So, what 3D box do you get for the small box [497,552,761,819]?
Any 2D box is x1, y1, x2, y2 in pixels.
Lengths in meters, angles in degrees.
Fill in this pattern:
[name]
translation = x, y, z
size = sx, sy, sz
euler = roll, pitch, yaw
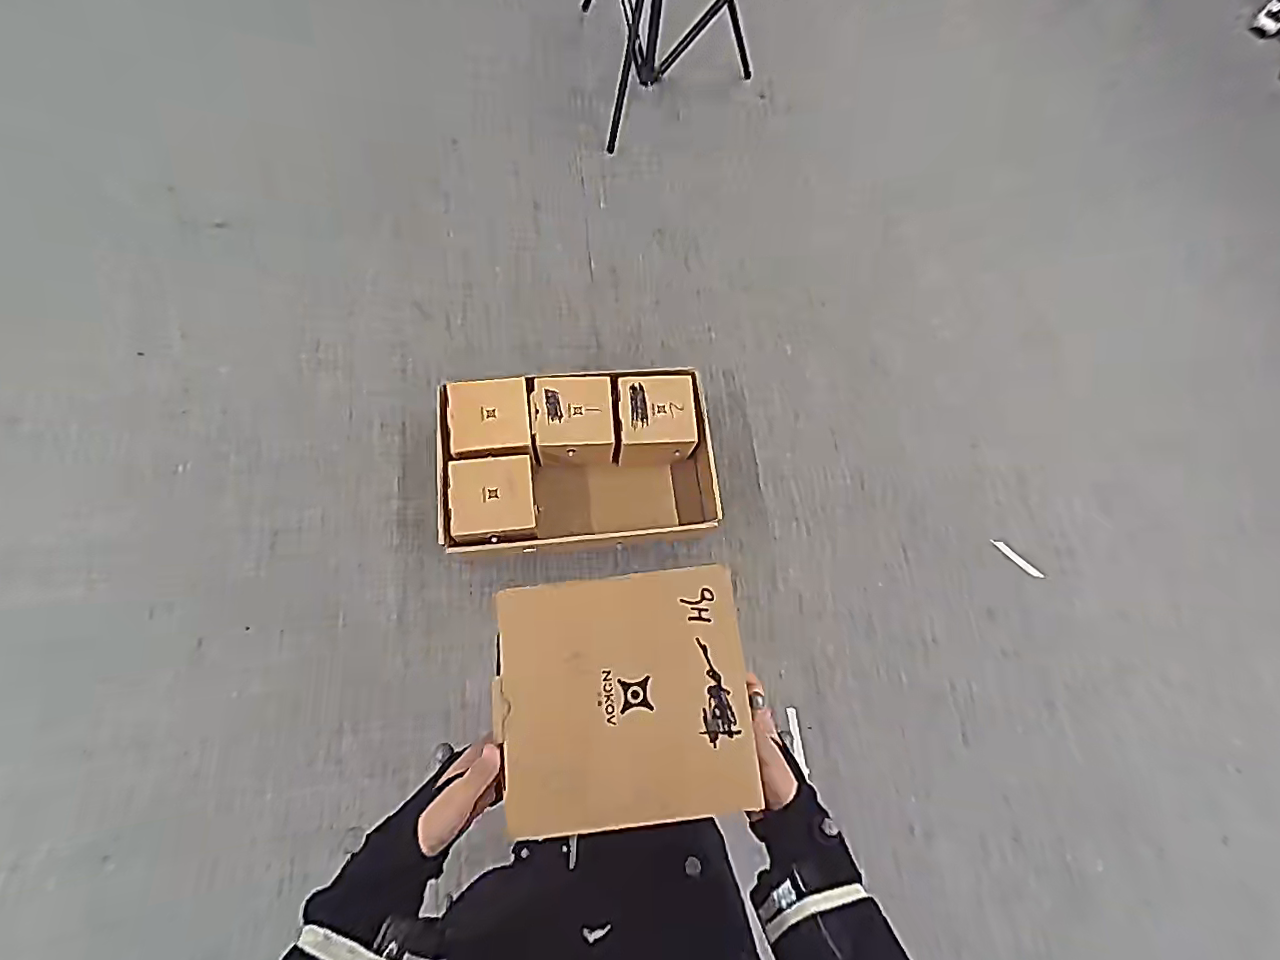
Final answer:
[small box]
translation = -0.009, 0.161, 0.459
size = 0.179, 0.176, 0.168
euler = -7, 76, 0
